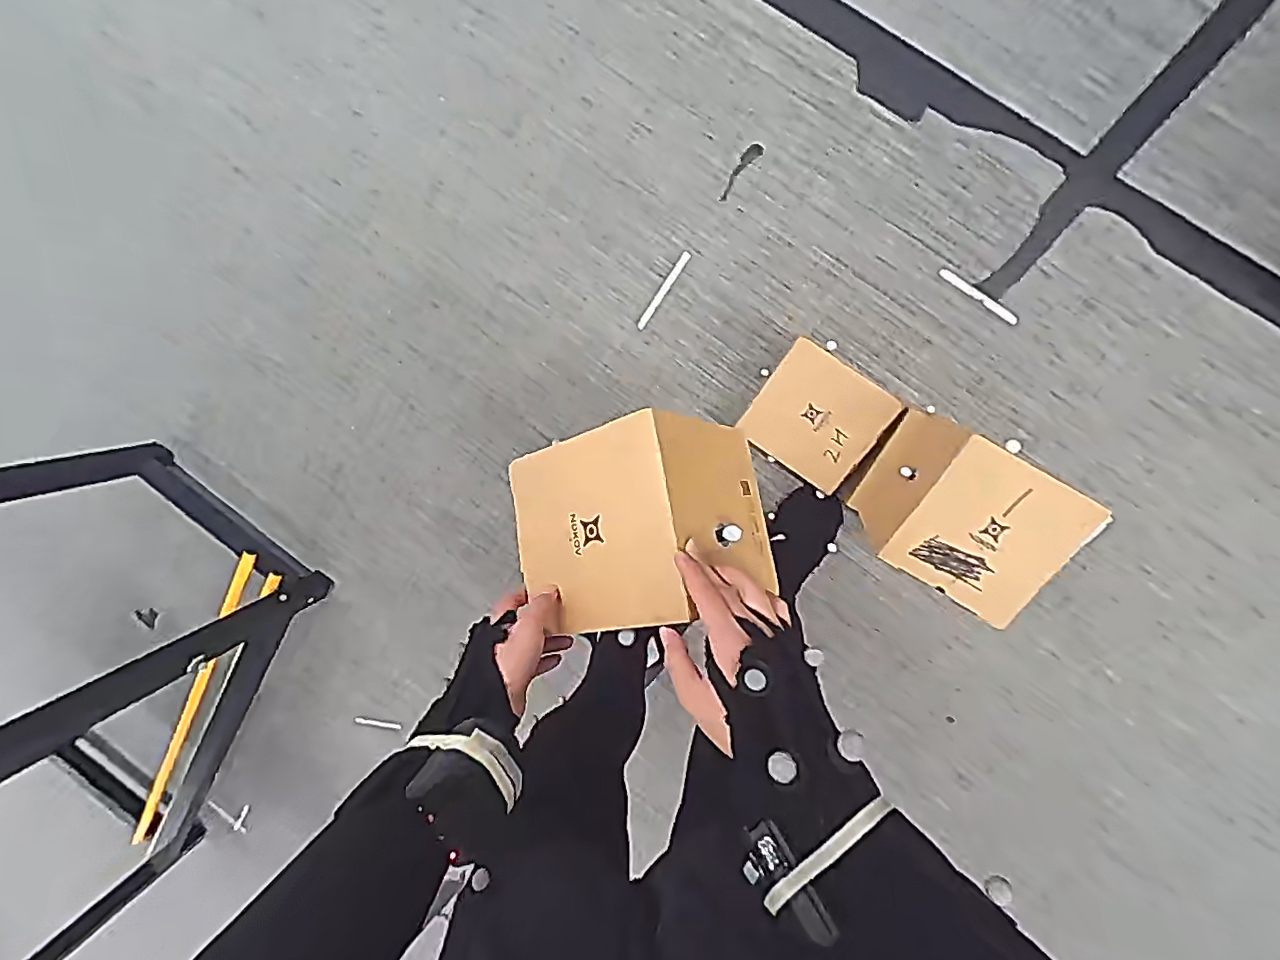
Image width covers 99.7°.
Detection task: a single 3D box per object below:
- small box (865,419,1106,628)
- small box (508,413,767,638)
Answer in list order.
[{"bbox_3d":[0.407,0.043,0.681,0.168,0.176,0.179,32,109,5],"label":"small box"},{"bbox_3d":[0.005,0.046,0.513,0.179,0.176,0.168,-17,78,36],"label":"small box"}]
